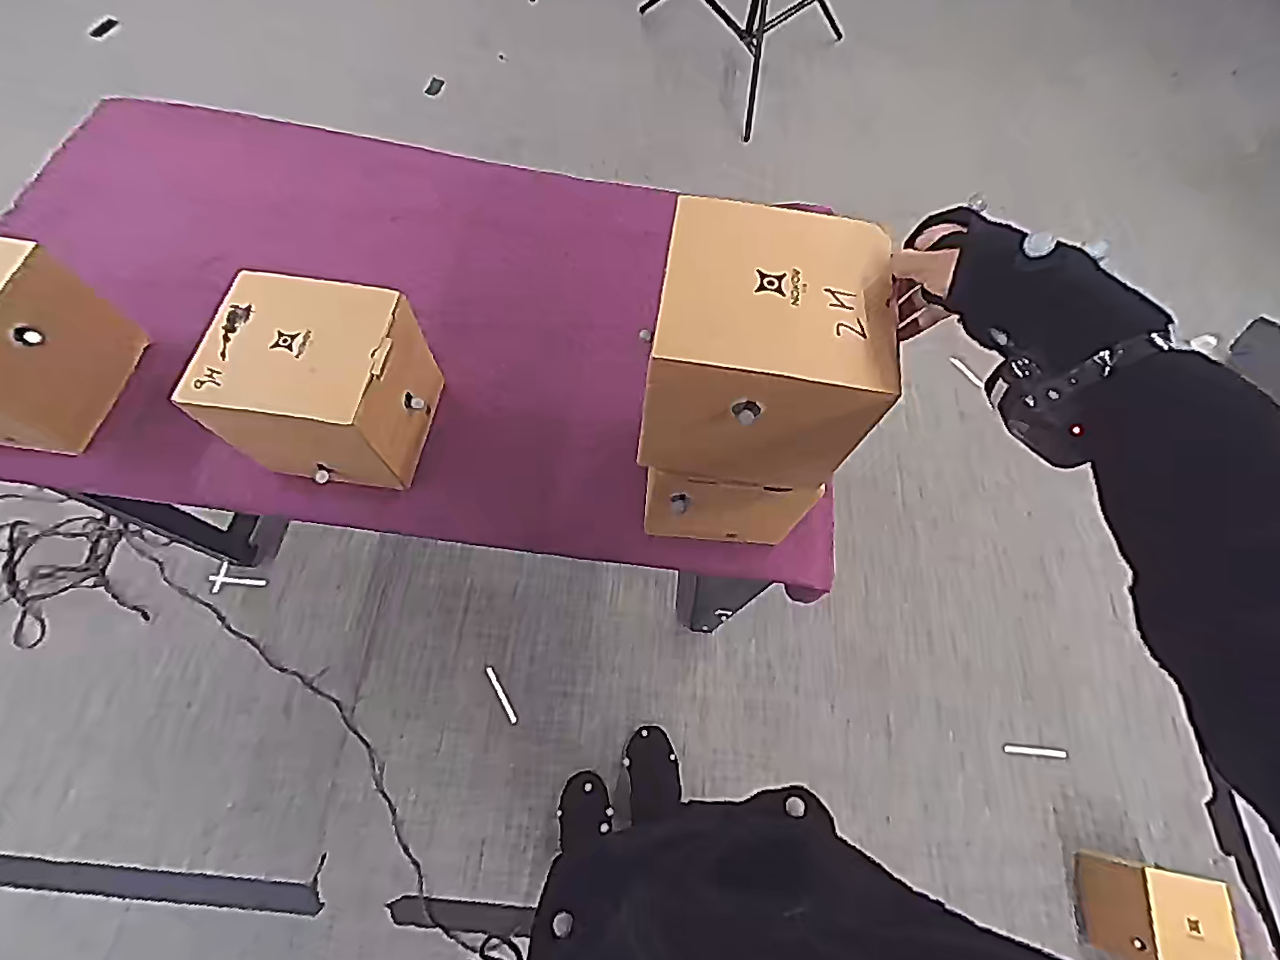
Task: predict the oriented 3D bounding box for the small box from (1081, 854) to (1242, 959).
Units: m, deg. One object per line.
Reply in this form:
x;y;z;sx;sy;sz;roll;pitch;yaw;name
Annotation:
1.042;0.886;1.094;0.168;0.176;0.179;12;66;0;small box

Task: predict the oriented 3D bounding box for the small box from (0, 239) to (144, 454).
-0.724;-0.147;0.602;0.168;0.176;0.179;8;65;-3;small box

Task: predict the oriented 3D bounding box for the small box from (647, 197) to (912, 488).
0.104;-0.106;0.469;0.179;0.176;0.168;9;66;0;small box

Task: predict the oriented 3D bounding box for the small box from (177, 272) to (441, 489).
-0.345;-0.100;0.611;0.179;0.176;0.168;8;67;-1;small box
